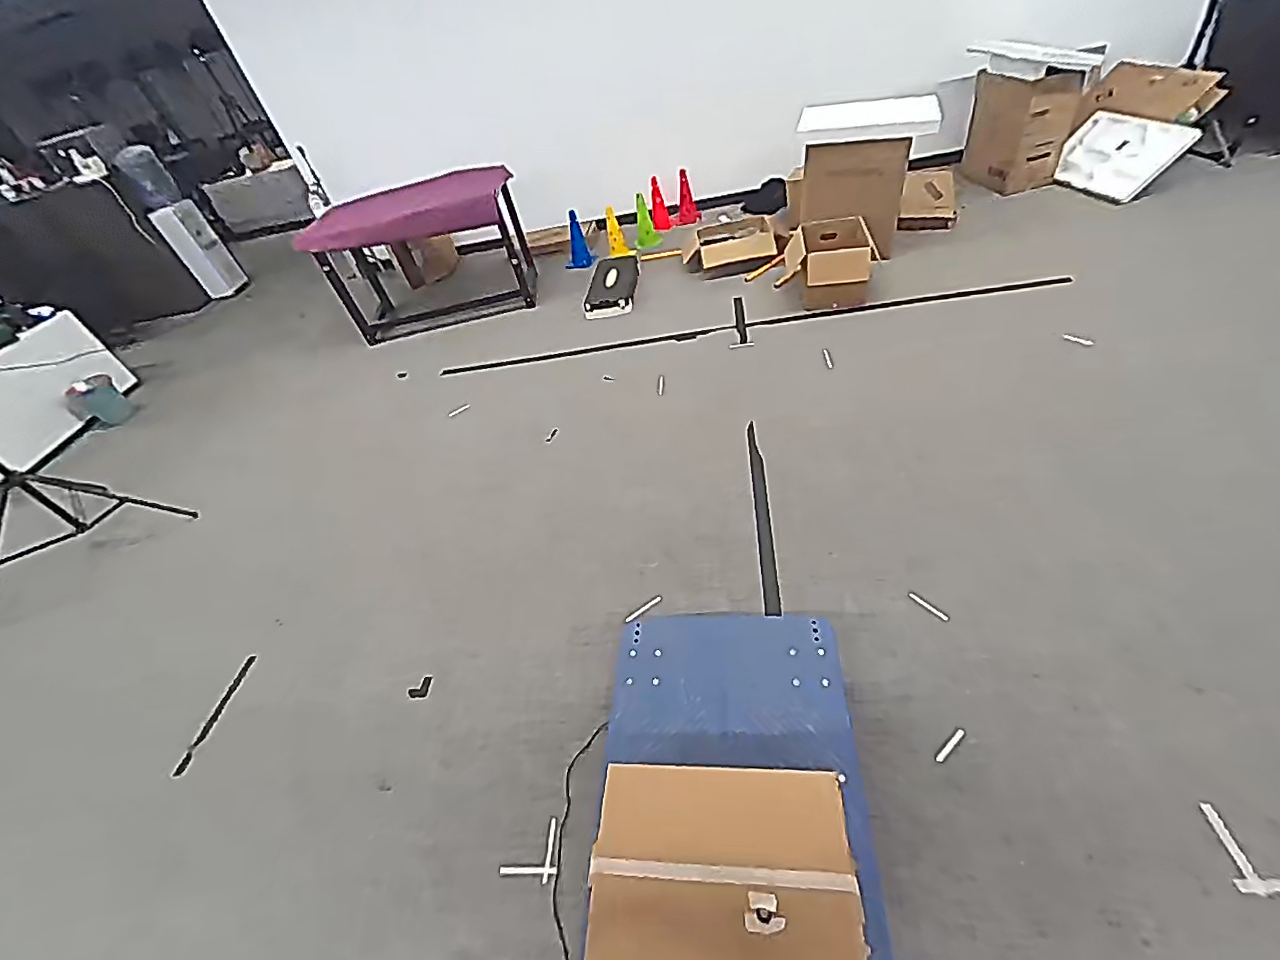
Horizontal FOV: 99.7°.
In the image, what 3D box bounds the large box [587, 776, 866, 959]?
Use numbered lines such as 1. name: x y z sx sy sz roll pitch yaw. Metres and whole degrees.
1. large box: 0.147 0.732 0.929 0.408 0.320 0.320 -4 44 11
